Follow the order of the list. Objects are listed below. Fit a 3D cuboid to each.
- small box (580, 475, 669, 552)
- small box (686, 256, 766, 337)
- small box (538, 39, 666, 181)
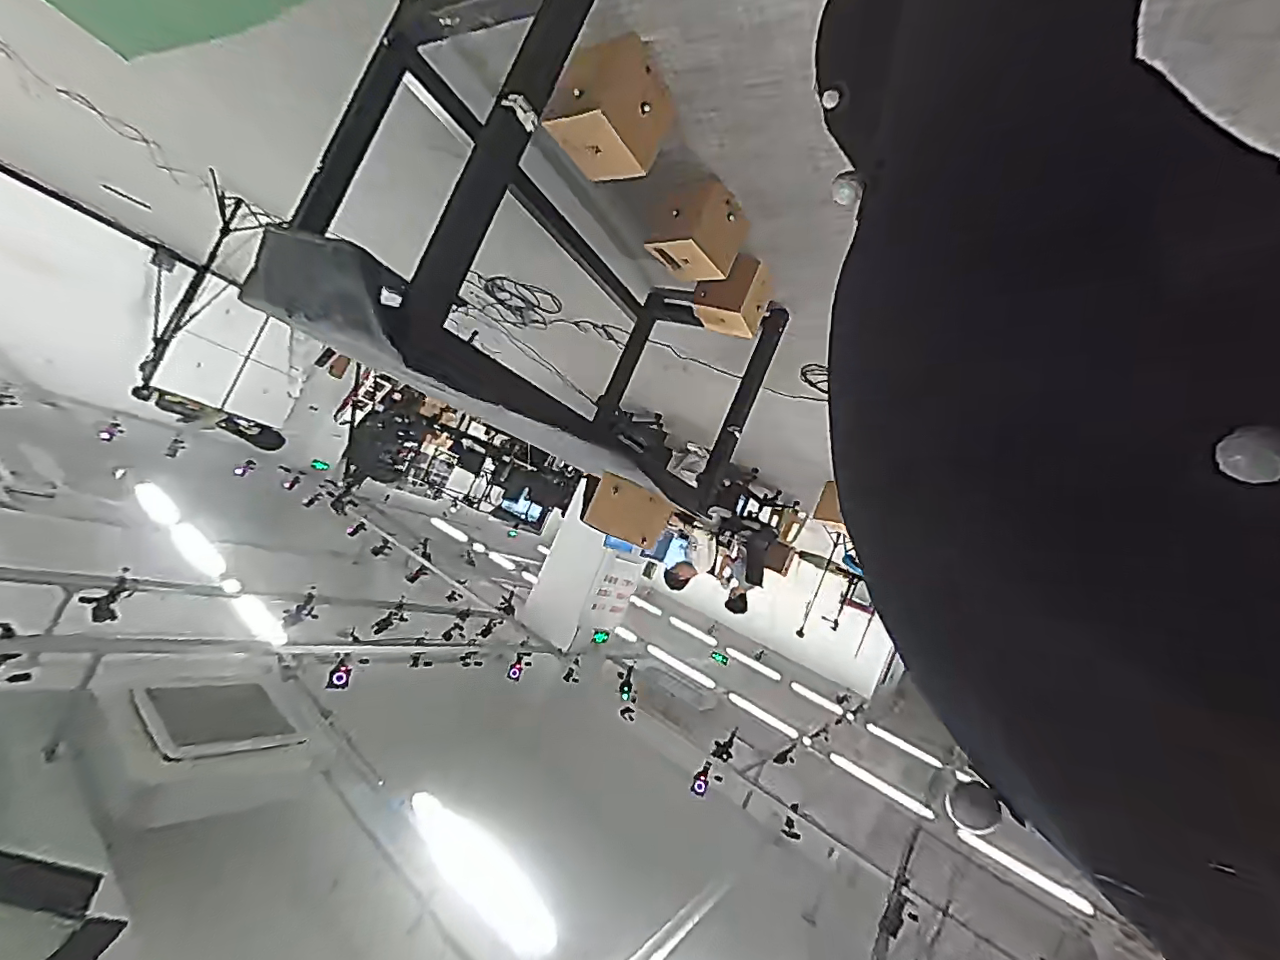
[{"bbox_3d":[-0.043,0.097,1.638,0.179,0.176,0.168,19,175,45],"label":"small box"},{"bbox_3d":[0.272,-0.564,1.658,0.179,0.176,0.168,22,177,29],"label":"small box"},{"bbox_3d":[-0.068,-0.744,1.097,0.179,0.176,0.168,21,175,38],"label":"small box"}]
